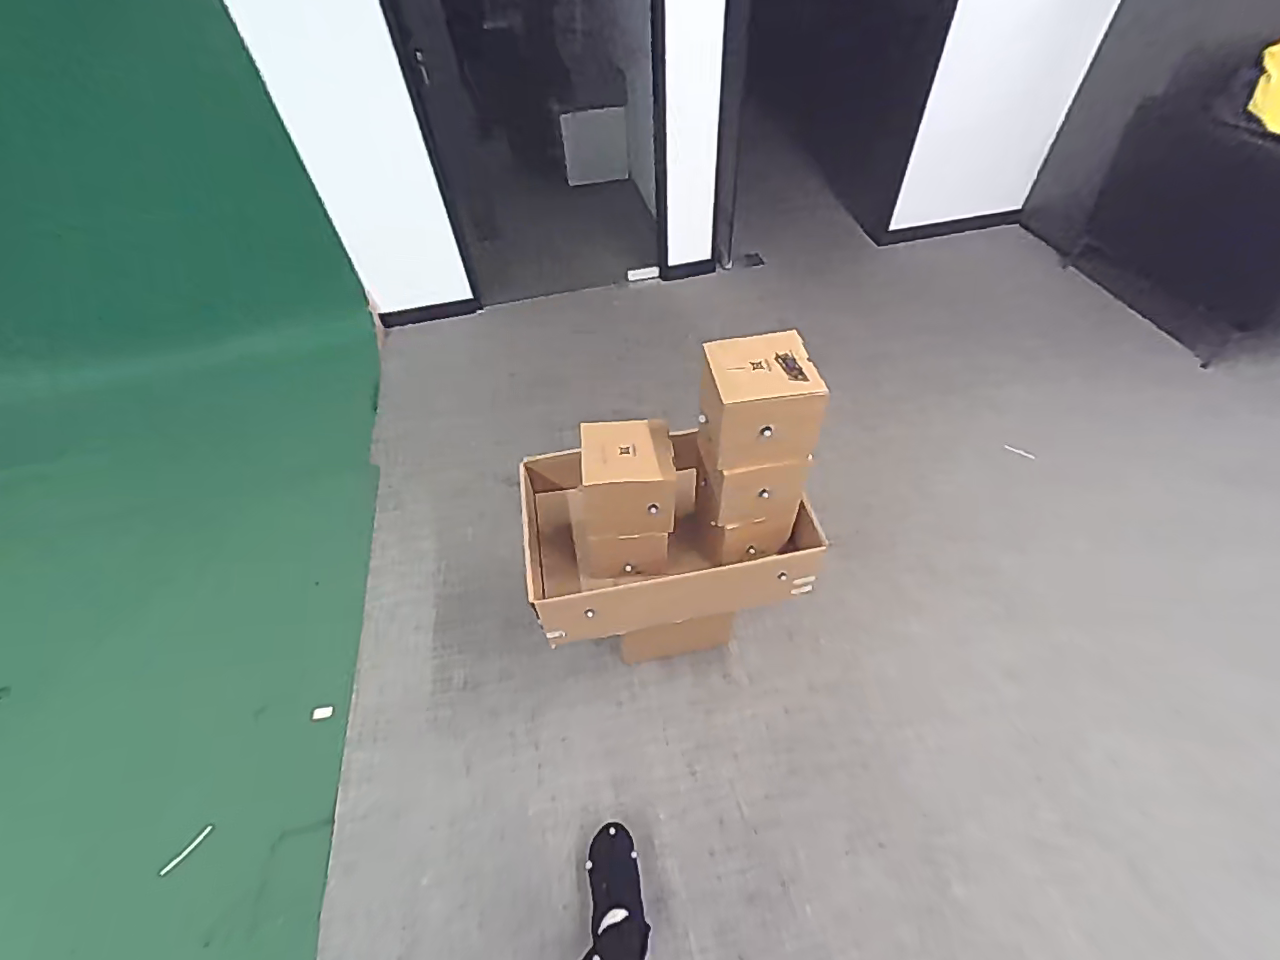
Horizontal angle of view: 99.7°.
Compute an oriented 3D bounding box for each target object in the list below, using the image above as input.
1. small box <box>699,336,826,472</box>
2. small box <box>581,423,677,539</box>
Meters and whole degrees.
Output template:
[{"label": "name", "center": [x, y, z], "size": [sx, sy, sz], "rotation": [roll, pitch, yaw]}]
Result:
[{"label": "small box", "center": [0.209, -0.134, 0.975], "size": [0.179, 0.176, 0.168], "rotation": [-8, 50, -2]}, {"label": "small box", "center": [-0.026, 0.004, 1.087], "size": [0.179, 0.176, 0.168], "rotation": [-3, 48, -3]}]
